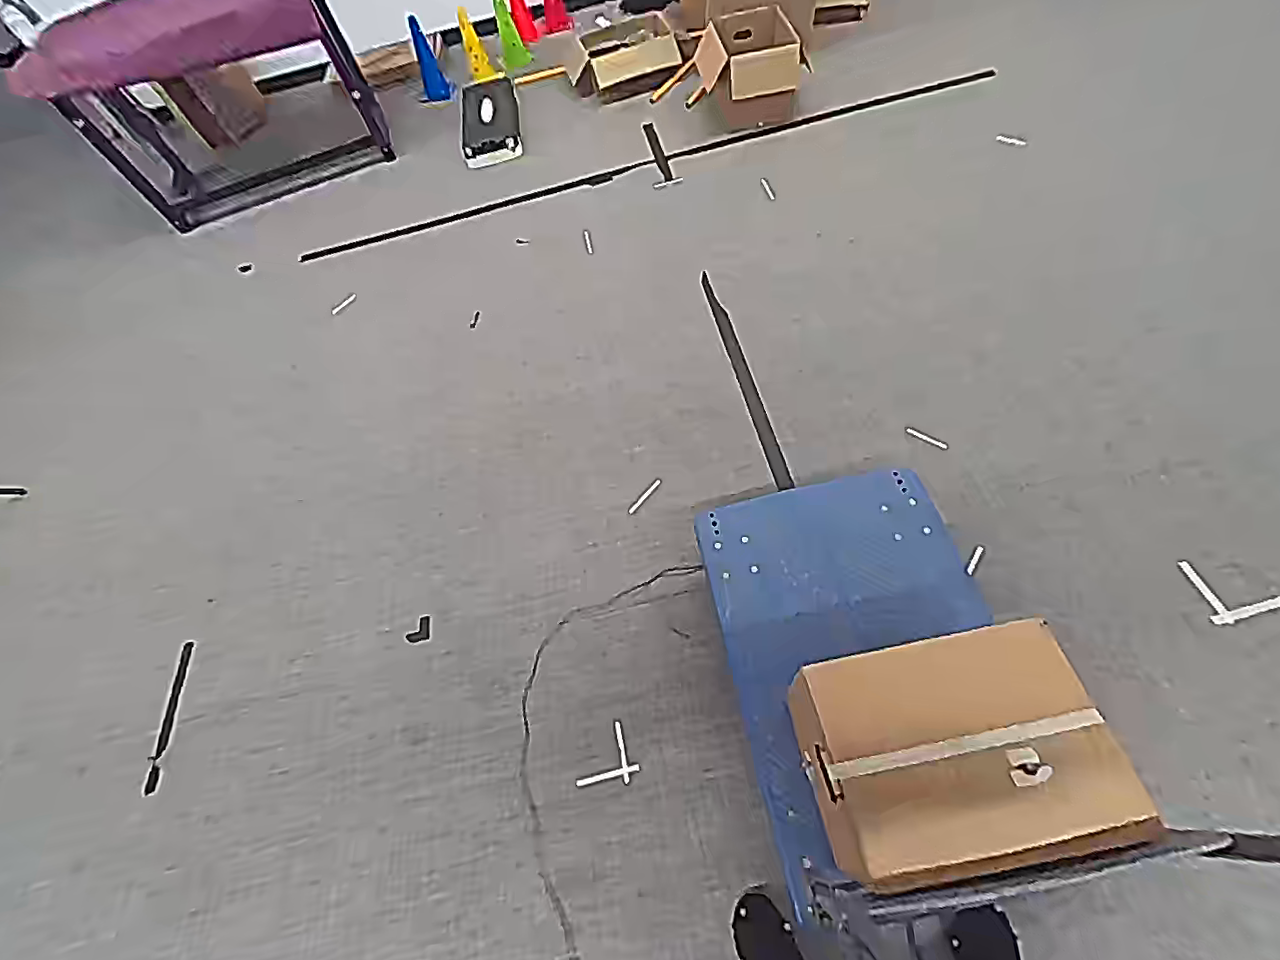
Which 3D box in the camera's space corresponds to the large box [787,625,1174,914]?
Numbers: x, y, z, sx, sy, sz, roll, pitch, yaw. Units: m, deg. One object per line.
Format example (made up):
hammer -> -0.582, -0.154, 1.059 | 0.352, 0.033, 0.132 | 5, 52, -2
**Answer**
large box -> 0.506, 0.482, 0.919 | 0.408, 0.320, 0.320 | -12, 59, 1
